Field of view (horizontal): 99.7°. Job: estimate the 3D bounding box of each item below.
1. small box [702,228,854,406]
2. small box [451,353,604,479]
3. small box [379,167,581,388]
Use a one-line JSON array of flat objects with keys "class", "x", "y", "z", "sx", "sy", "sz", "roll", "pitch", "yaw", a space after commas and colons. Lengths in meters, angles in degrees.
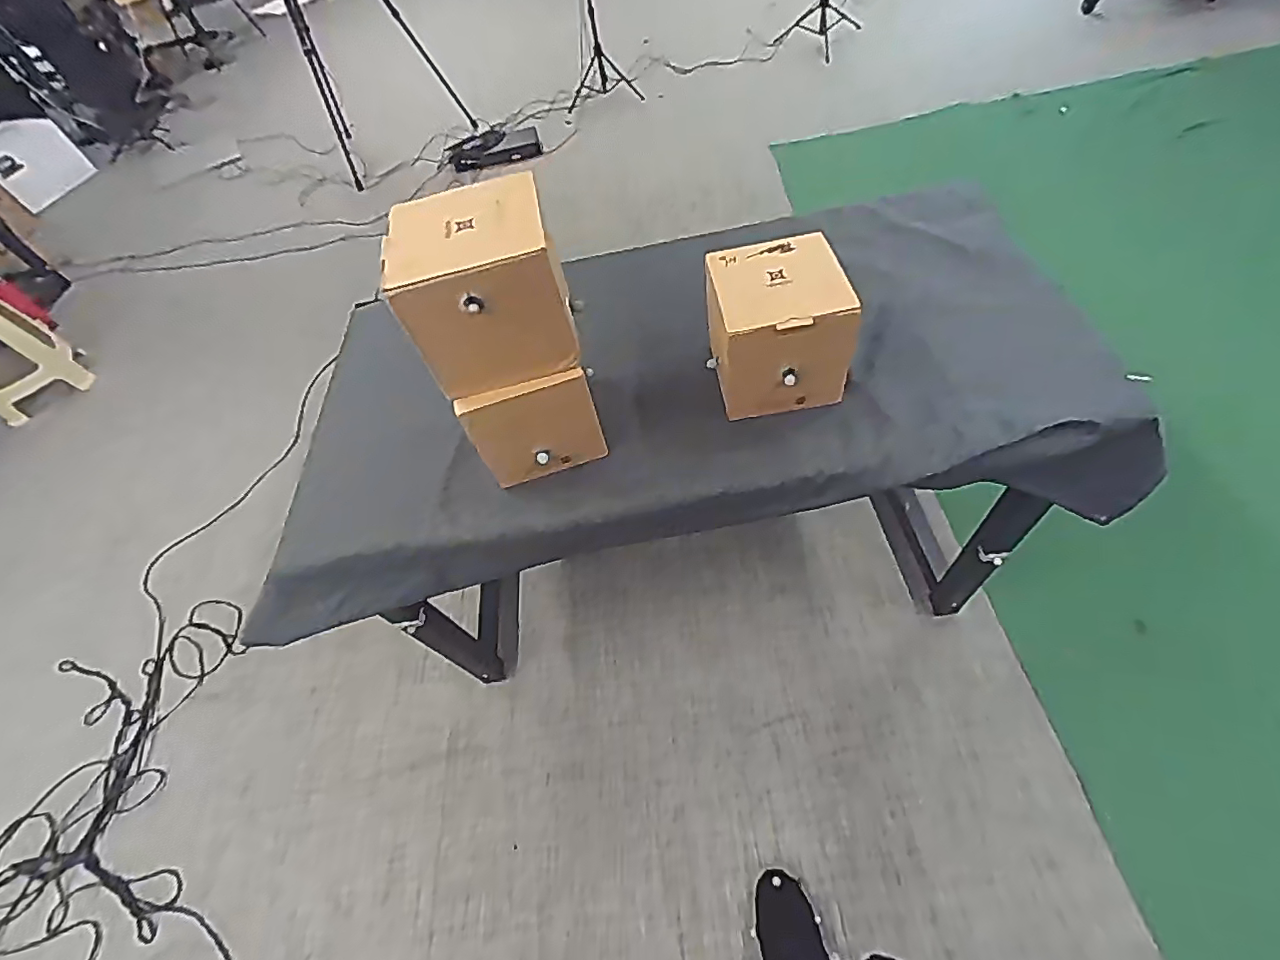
[{"class": "small box", "x": 0.188, "y": -0.222, "z": 0.774, "sx": 0.168, "sy": 0.176, "sz": 0.179, "roll": -9, "pitch": 56, "yaw": 4}, {"class": "small box", "x": -0.161, "y": -0.132, "z": 0.774, "sx": 0.168, "sy": 0.176, "sz": 0.179, "roll": -18, "pitch": 56, "yaw": -2}, {"class": "small box", "x": -0.182, "y": -0.234, "z": 0.649, "sx": 0.179, "sy": 0.176, "sz": 0.168, "roll": -14, "pitch": 57, "yaw": -1}]
